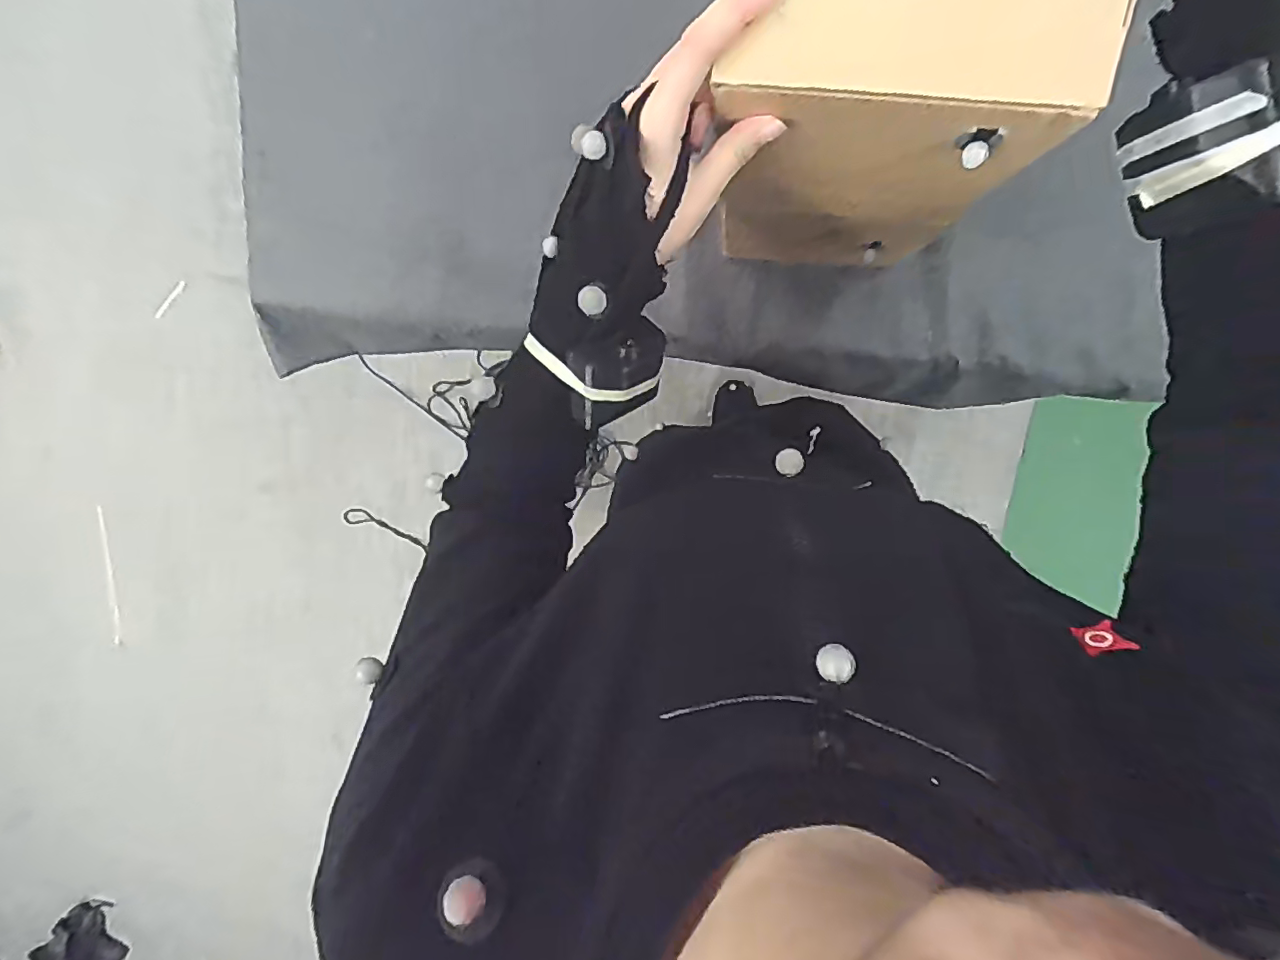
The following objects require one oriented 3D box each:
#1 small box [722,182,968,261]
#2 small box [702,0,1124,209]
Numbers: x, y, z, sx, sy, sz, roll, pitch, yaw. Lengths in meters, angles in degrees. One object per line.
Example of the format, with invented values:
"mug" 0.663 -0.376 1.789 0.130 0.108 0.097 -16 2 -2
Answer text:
"small box" 0.168 -0.294 0.464 0.179 0.176 0.168 7 100 9
"small box" 0.136 -0.270 0.308 0.179 0.176 0.168 8 101 7
